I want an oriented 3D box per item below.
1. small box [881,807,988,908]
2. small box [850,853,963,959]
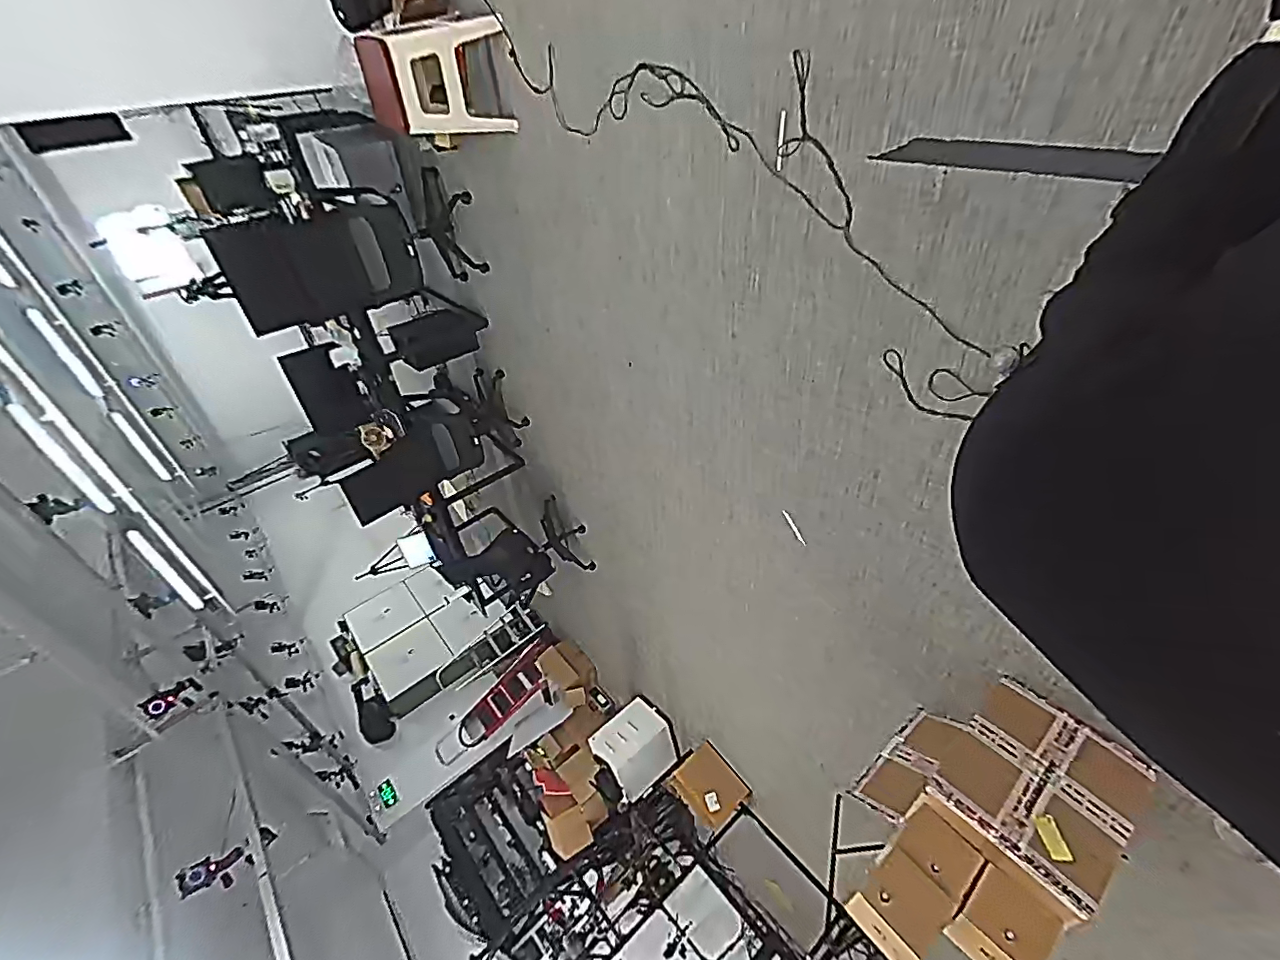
[{"bbox_3d":[0.804,1.045,1.478,0.179,0.176,0.168,41,146,35],"label":"small box"},{"bbox_3d":[0.678,1.098,1.383,0.179,0.176,0.168,38,145,37],"label":"small box"}]
